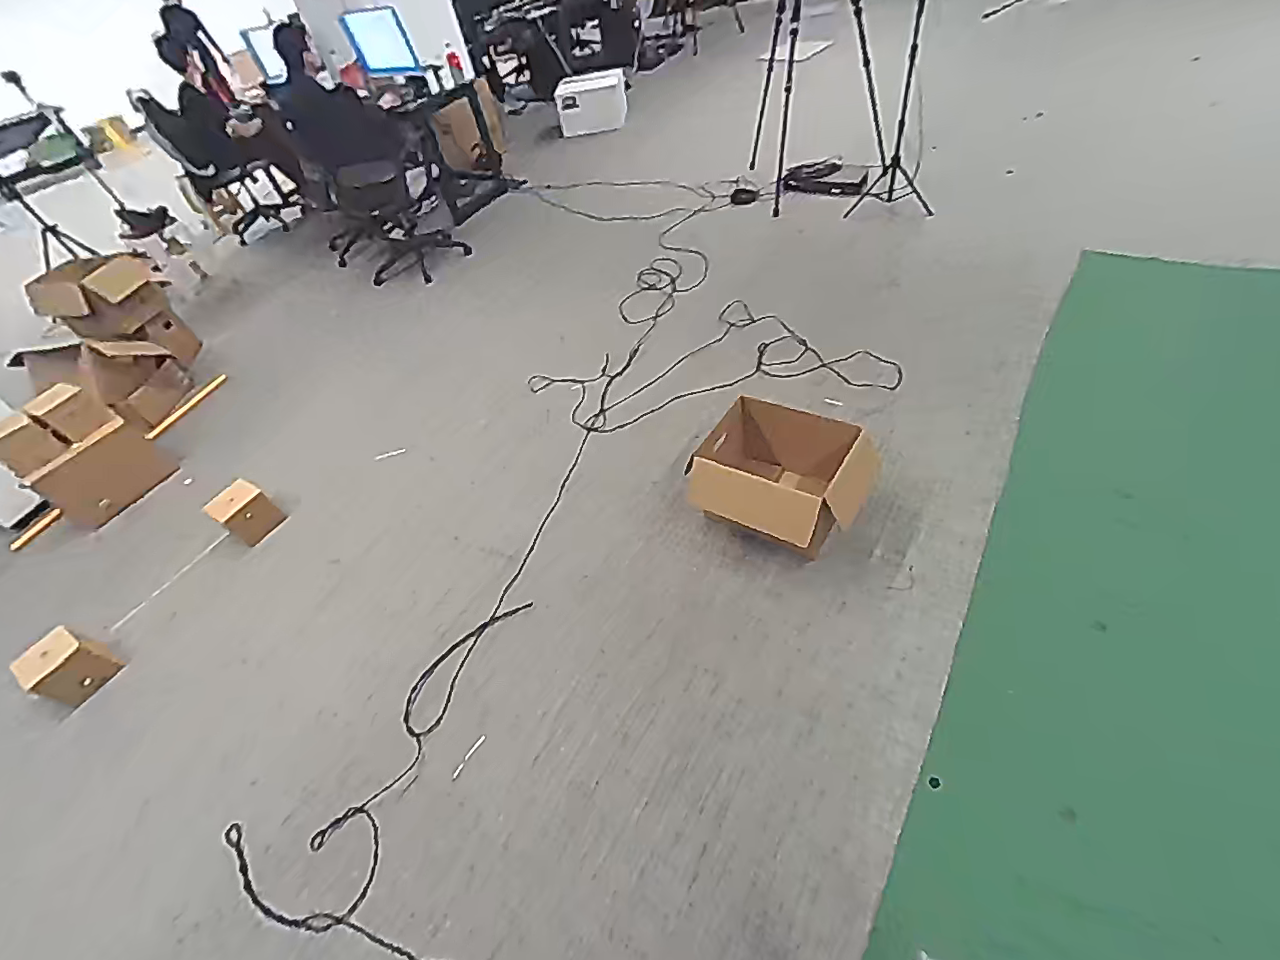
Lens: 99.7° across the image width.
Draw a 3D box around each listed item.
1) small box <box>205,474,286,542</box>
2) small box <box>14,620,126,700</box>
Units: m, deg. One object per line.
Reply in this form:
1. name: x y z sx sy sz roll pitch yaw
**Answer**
1. small box: -1.548 0.113 2.138 0.168 0.176 0.179 20 57 26
2. small box: -1.886 0.601 1.796 0.179 0.176 0.168 19 57 27
